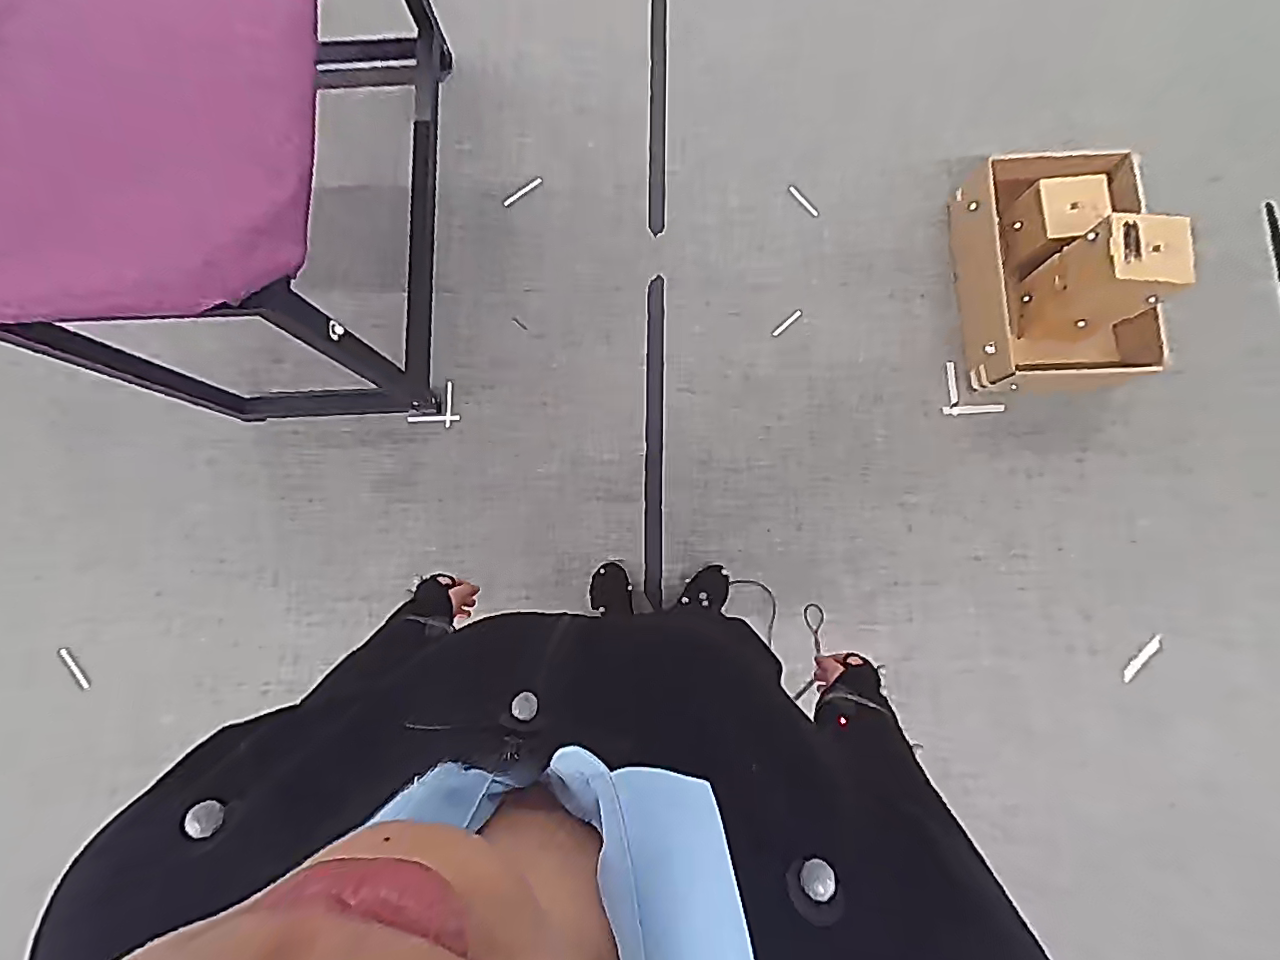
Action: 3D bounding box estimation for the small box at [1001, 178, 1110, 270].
[{"bbox_3d":[1.127,-0.696,1.486,0.179,0.176,0.168,-3,84,1],"label":"small box"}]

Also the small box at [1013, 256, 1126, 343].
[{"bbox_3d":[1.151,-0.482,1.462,0.179,0.176,0.168,3,80,2],"label":"small box"}]
